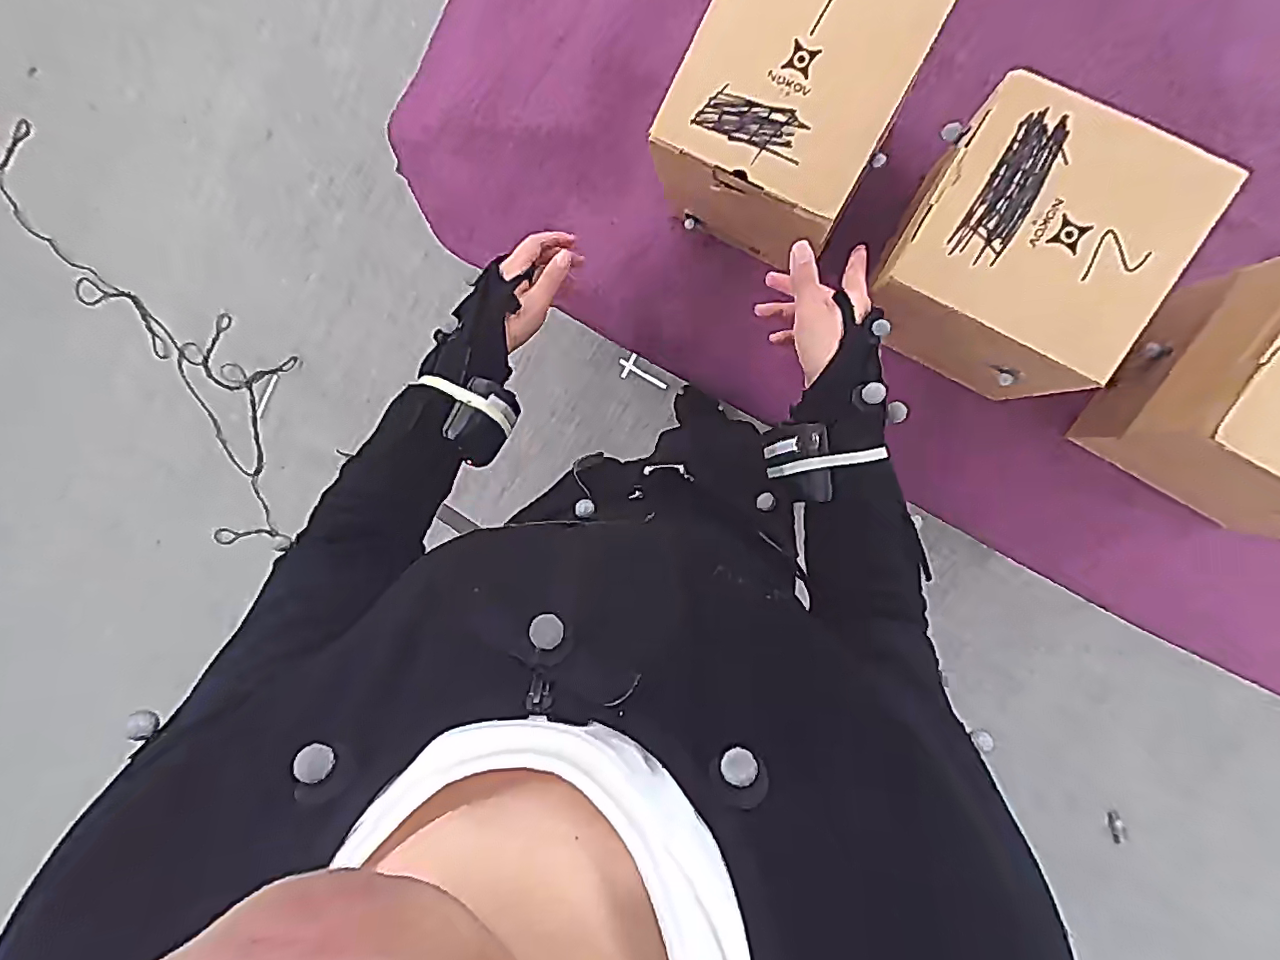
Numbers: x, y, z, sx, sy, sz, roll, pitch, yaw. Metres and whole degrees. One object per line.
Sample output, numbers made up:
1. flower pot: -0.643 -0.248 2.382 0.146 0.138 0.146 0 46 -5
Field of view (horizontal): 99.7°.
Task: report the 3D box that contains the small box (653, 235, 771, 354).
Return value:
1. small box: 0.151 -0.369 1.110 0.179 0.176 0.168 27 101 7
